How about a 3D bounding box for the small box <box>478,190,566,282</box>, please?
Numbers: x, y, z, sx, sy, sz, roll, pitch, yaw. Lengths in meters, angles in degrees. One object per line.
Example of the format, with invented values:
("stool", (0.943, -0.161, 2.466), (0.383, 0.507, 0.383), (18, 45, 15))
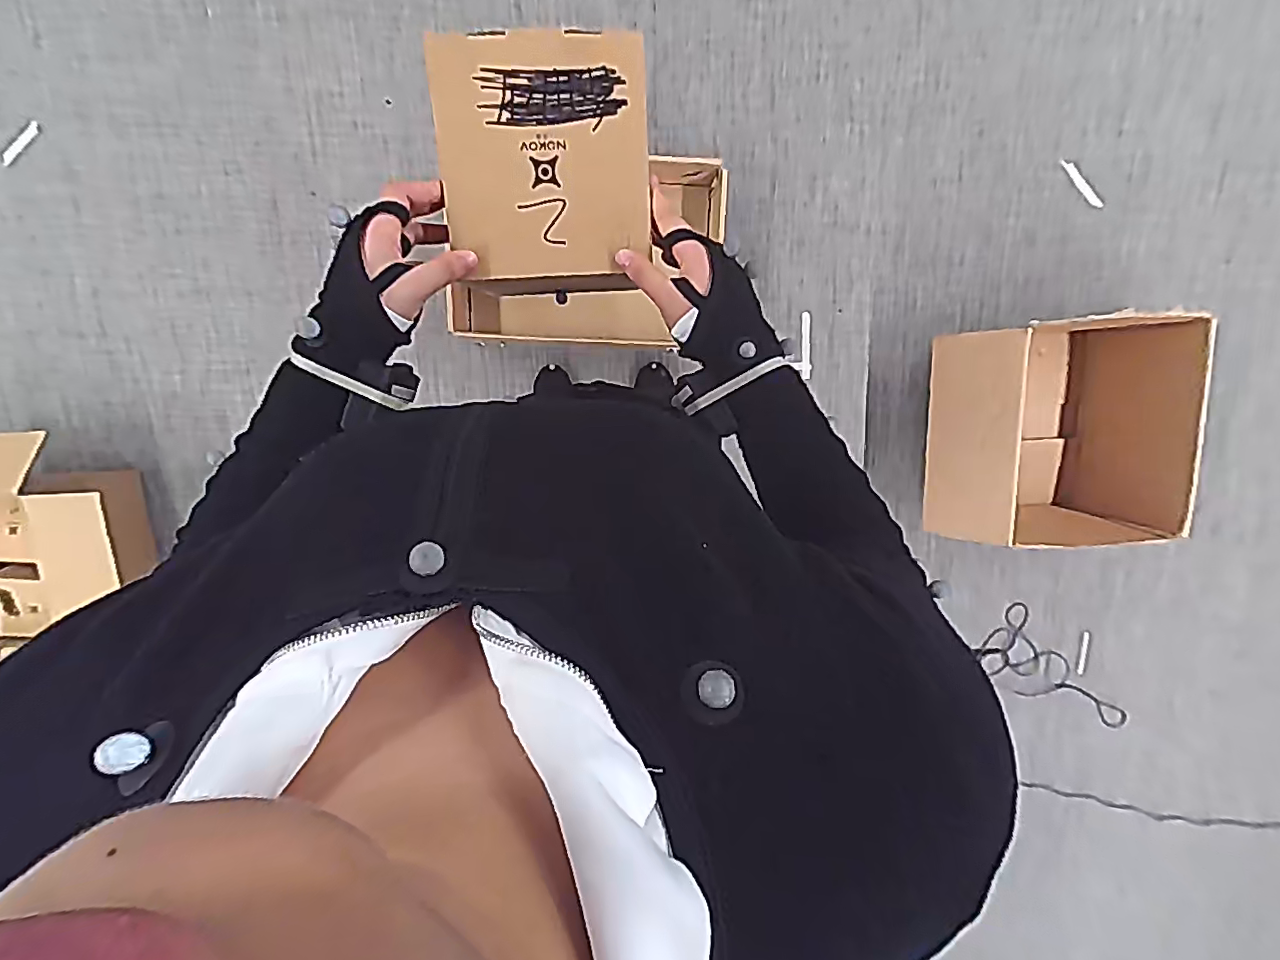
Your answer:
("small box", (-0.269, -0.557, 1.255), (0.179, 0.176, 0.168), (2, 104, -4))
